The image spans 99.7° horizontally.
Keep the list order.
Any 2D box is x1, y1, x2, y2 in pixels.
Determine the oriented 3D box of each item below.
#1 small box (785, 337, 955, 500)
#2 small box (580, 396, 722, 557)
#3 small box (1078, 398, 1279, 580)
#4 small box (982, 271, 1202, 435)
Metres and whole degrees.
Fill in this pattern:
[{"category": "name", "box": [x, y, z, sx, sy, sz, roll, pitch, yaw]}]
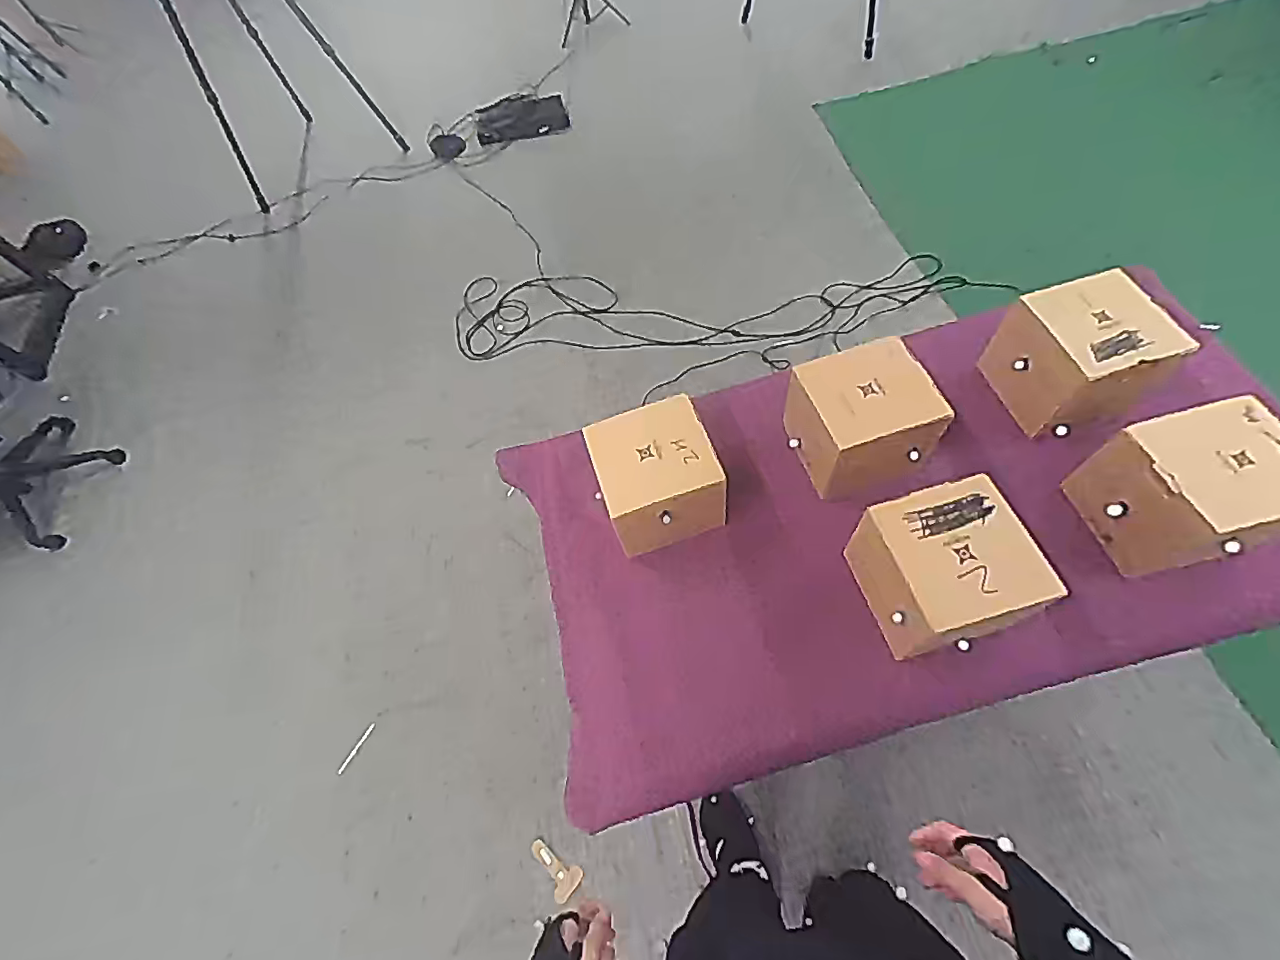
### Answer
[{"category": "small box", "box": [0.348, -0.091, 0.858, 0.179, 0.176, 0.168, -17, 60, 0]}, {"category": "small box", "box": [0.023, 0.002, 0.854, 0.179, 0.176, 0.168, -18, 61, -2]}, {"category": "small box", "box": [0.749, 0.021, 0.733, 0.179, 0.176, 0.168, -15, 60, 2]}, {"category": "small box", "box": [0.693, -0.190, 0.858, 0.168, 0.176, 0.179, -15, 60, 0]}]
